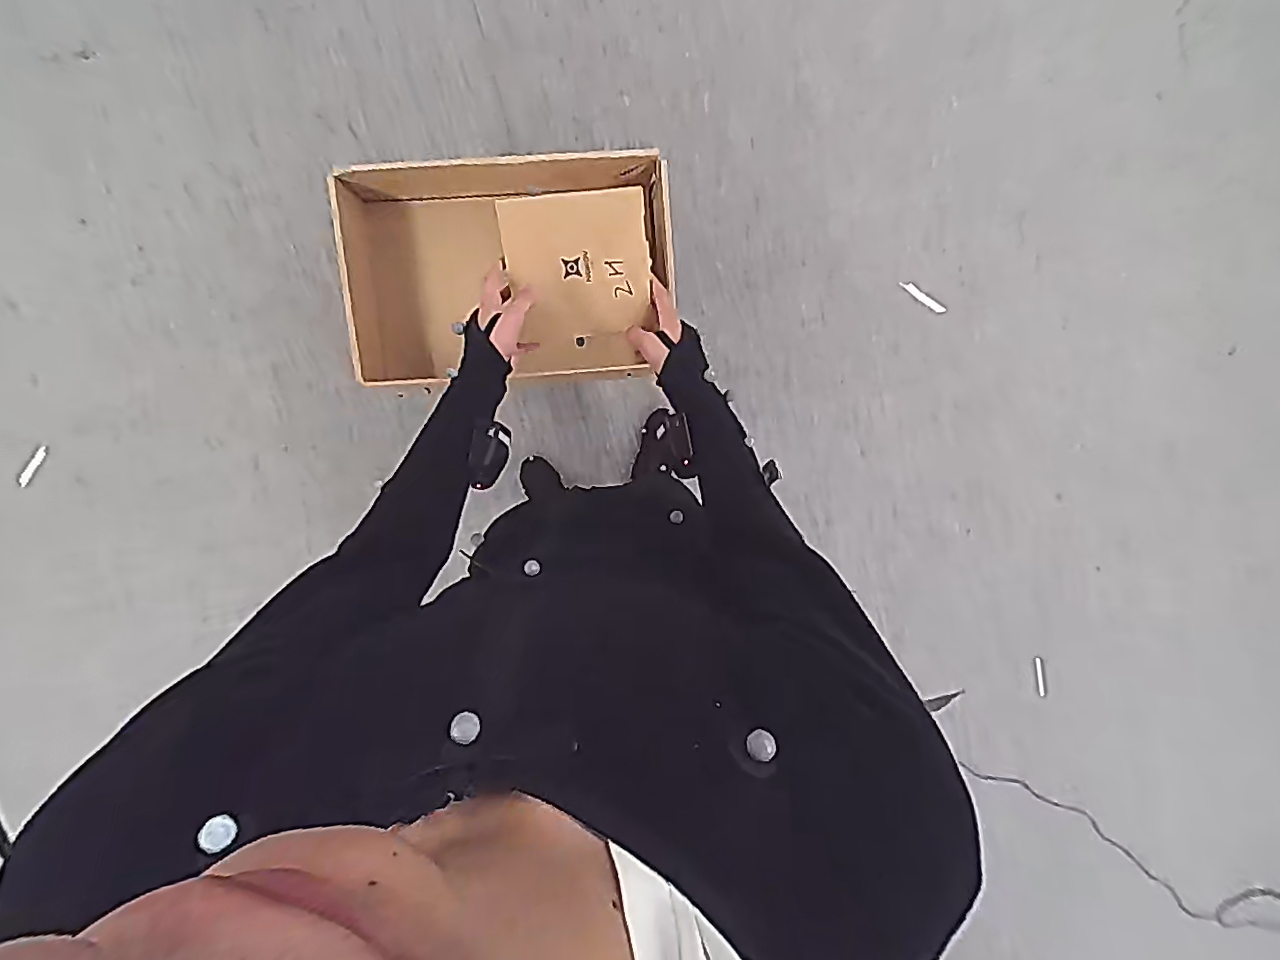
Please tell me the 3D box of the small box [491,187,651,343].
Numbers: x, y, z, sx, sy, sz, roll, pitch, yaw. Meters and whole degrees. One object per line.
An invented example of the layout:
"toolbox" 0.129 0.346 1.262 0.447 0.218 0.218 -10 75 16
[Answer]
"small box" -0.085 -0.281 0.721 0.179 0.176 0.168 -7 111 -4
